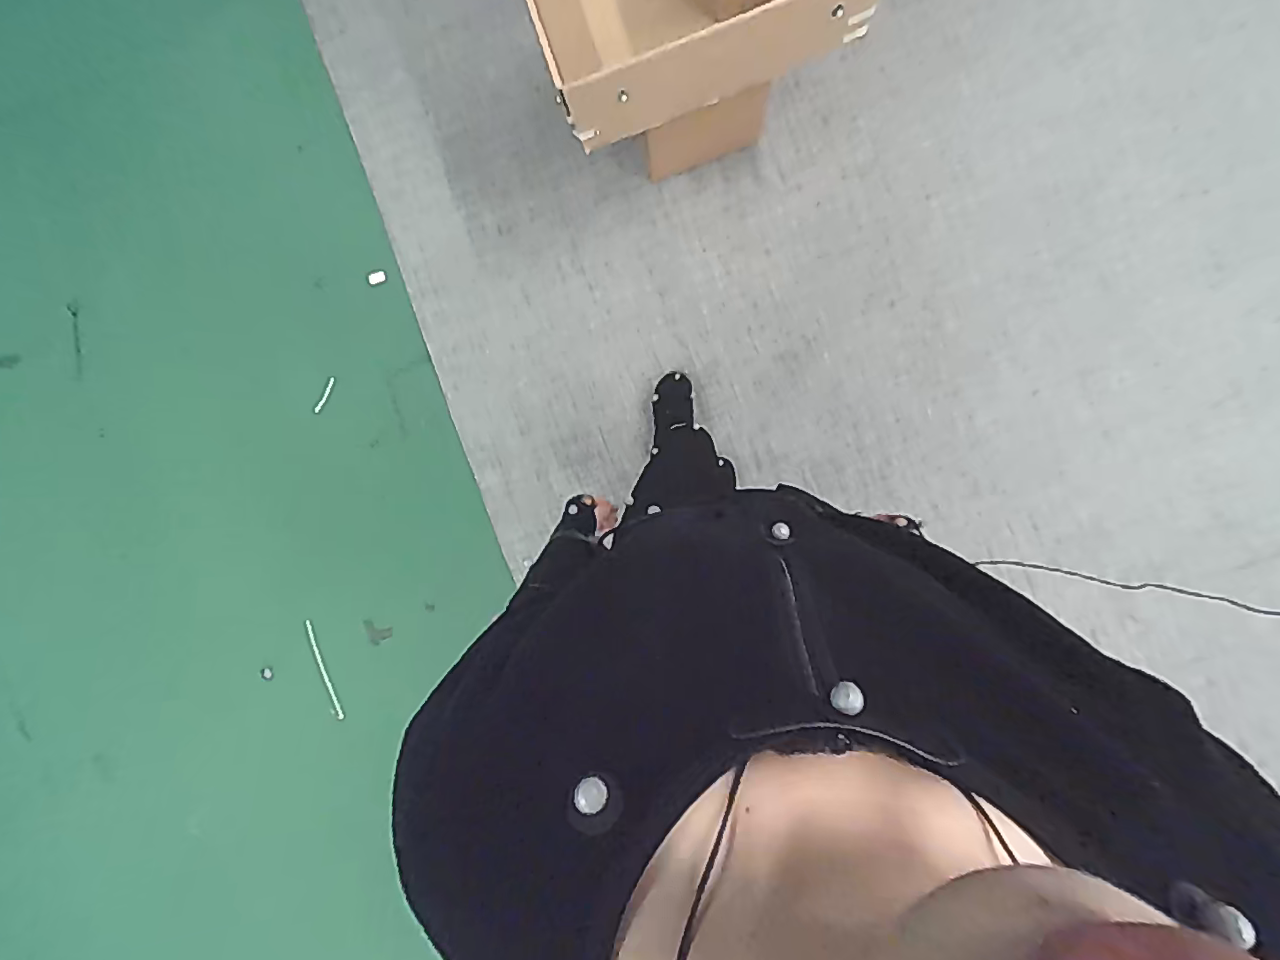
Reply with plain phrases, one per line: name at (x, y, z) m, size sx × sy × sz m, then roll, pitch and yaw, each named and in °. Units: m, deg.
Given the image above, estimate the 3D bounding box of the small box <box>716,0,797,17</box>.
small box at (0.210, -0.975, 0.956) m, size 0.168 × 0.176 × 0.179 m, roll -14°, pitch 91°, yaw 5°
